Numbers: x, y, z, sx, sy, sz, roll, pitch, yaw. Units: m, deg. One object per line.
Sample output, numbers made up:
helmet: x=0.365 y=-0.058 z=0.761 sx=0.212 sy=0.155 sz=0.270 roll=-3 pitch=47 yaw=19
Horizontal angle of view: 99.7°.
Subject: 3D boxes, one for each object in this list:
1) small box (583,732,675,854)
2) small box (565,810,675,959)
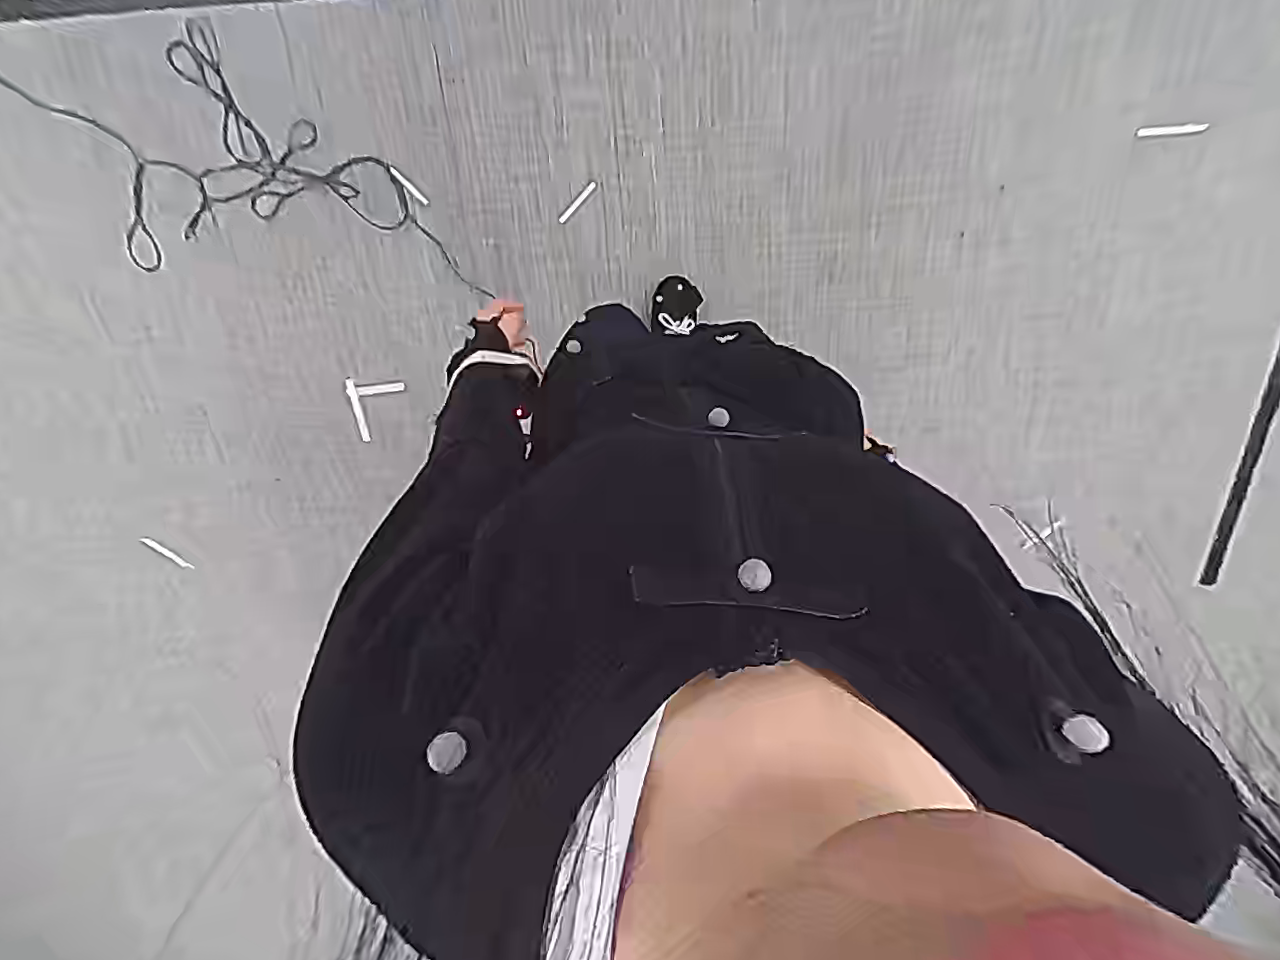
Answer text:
small box: x=-0.022 y=0.615 z=1.047 sx=0.168 sy=0.176 sz=0.179 roll=1 pitch=111 yaw=0
small box: x=-0.031 y=0.680 z=0.896 sx=0.168 sy=0.176 sz=0.179 roll=0 pitch=110 yaw=1
